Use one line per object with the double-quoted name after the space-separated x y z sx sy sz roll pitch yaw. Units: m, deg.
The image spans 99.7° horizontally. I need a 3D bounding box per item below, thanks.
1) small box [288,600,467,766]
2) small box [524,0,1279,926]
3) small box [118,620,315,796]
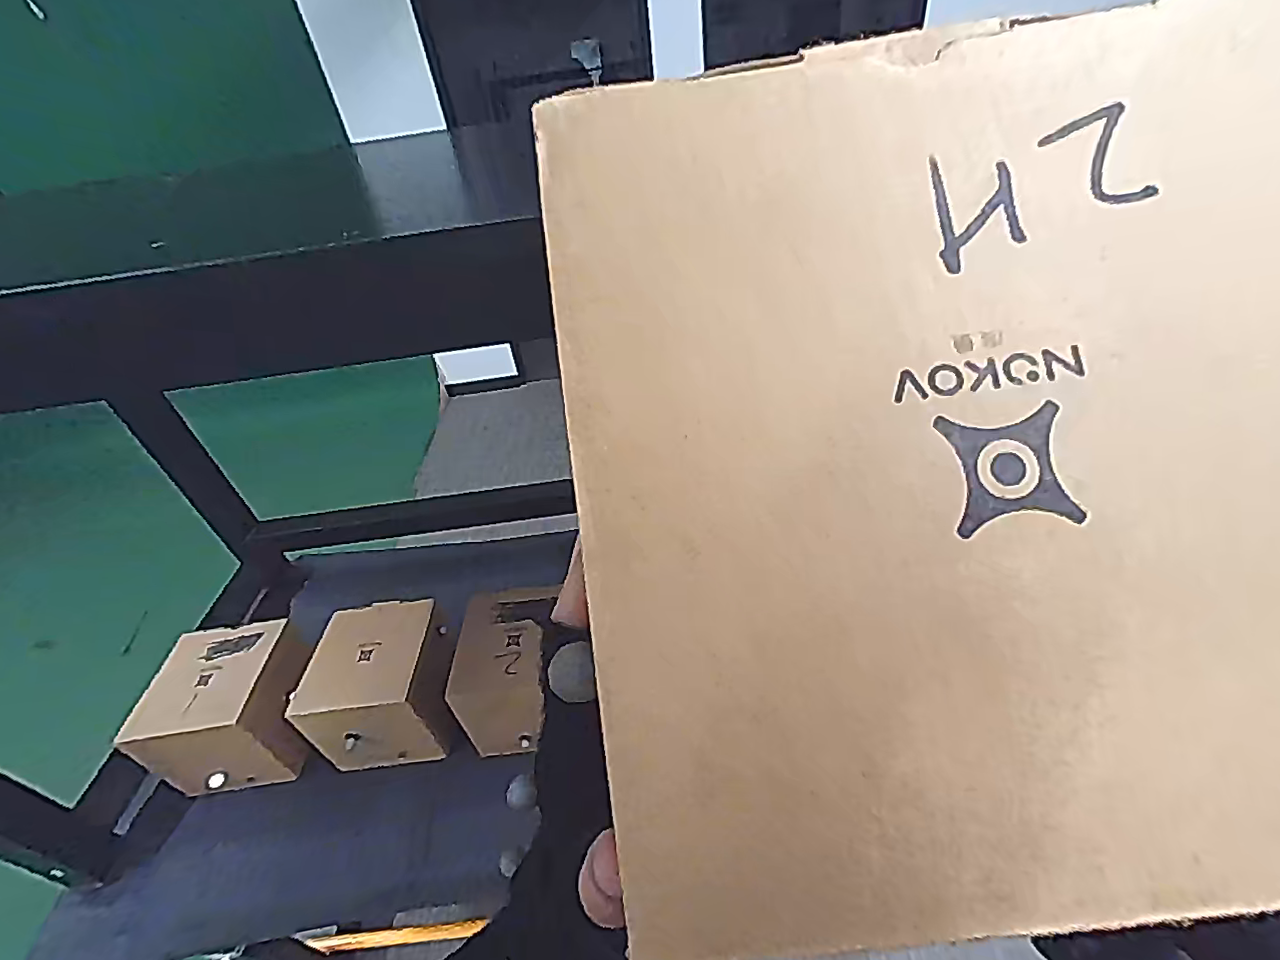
-0.379 0.312 0.822 0.168 0.176 0.179 -7 37 1 "small box"
0.068 -0.003 0.185 0.168 0.176 0.179 -7 81 1 "small box"
-0.603 0.343 0.821 0.168 0.176 0.179 -9 38 -1 "small box"
